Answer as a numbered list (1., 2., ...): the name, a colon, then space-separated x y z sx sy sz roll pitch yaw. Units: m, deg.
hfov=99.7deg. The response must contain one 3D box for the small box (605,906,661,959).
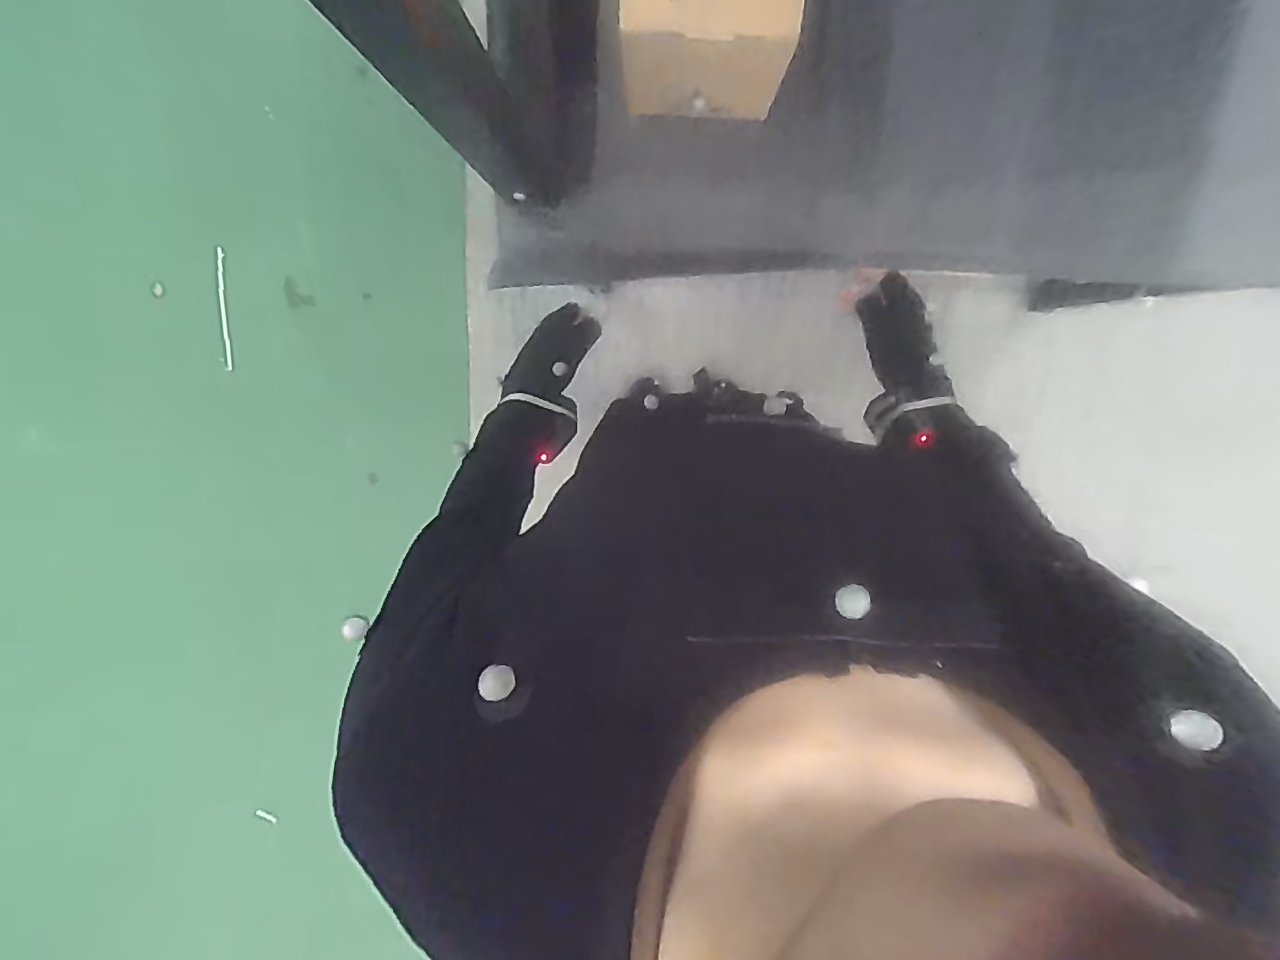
1. small box: -0.018 1.506 1.726 0.168 0.176 0.179 -4 102 4

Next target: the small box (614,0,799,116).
1. small box: 0.065 -0.505 0.544 0.168 0.176 0.179 3 102 2
